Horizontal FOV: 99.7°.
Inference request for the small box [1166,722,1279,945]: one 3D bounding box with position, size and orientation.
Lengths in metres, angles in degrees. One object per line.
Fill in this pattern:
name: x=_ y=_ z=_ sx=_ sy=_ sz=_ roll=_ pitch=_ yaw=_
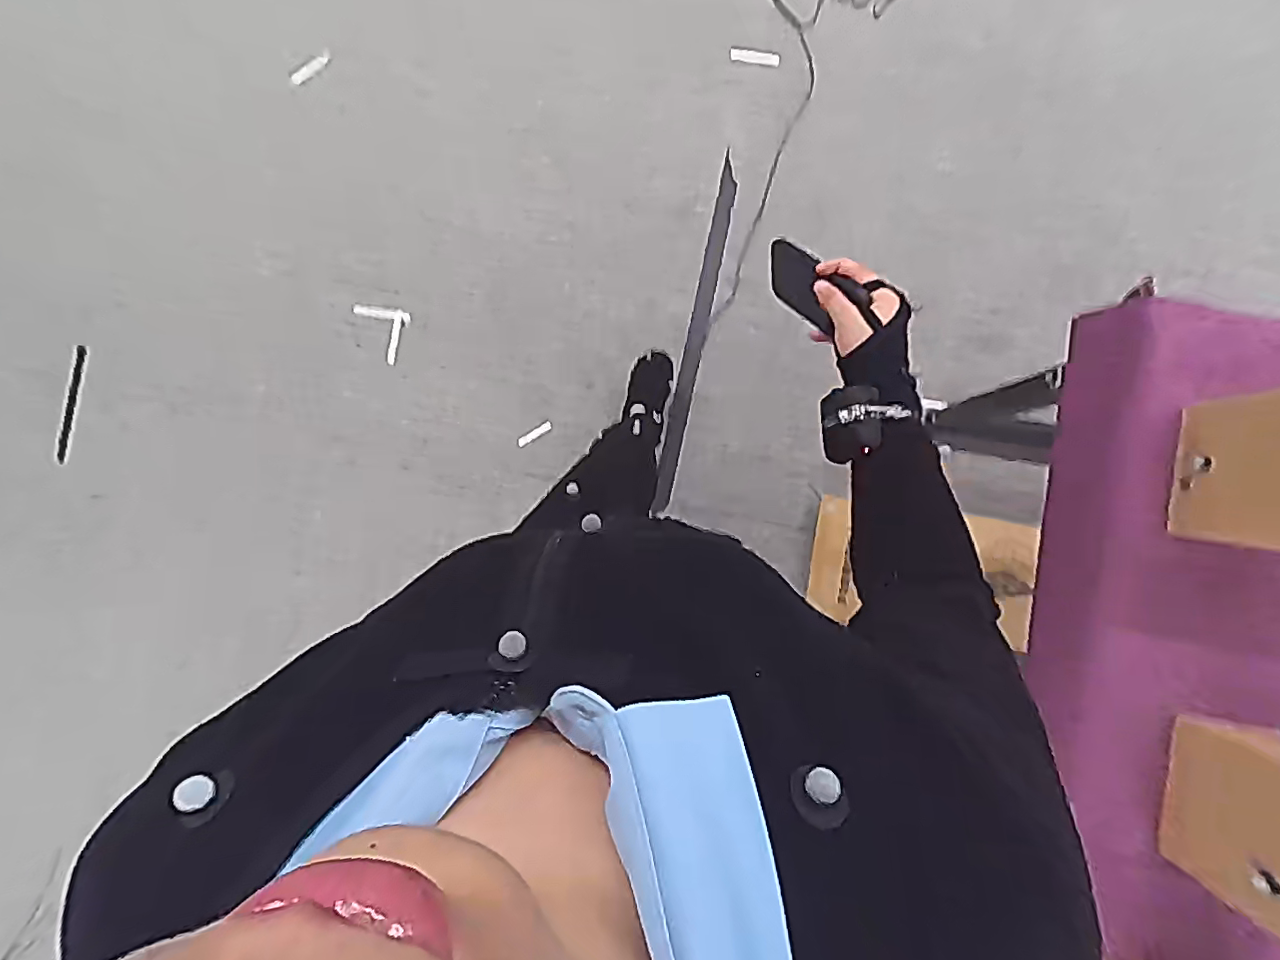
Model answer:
small box: x=0.737 y=0.396 z=0.589 sx=0.168 sy=0.176 sz=0.179 roll=9 pitch=88 yaw=3
